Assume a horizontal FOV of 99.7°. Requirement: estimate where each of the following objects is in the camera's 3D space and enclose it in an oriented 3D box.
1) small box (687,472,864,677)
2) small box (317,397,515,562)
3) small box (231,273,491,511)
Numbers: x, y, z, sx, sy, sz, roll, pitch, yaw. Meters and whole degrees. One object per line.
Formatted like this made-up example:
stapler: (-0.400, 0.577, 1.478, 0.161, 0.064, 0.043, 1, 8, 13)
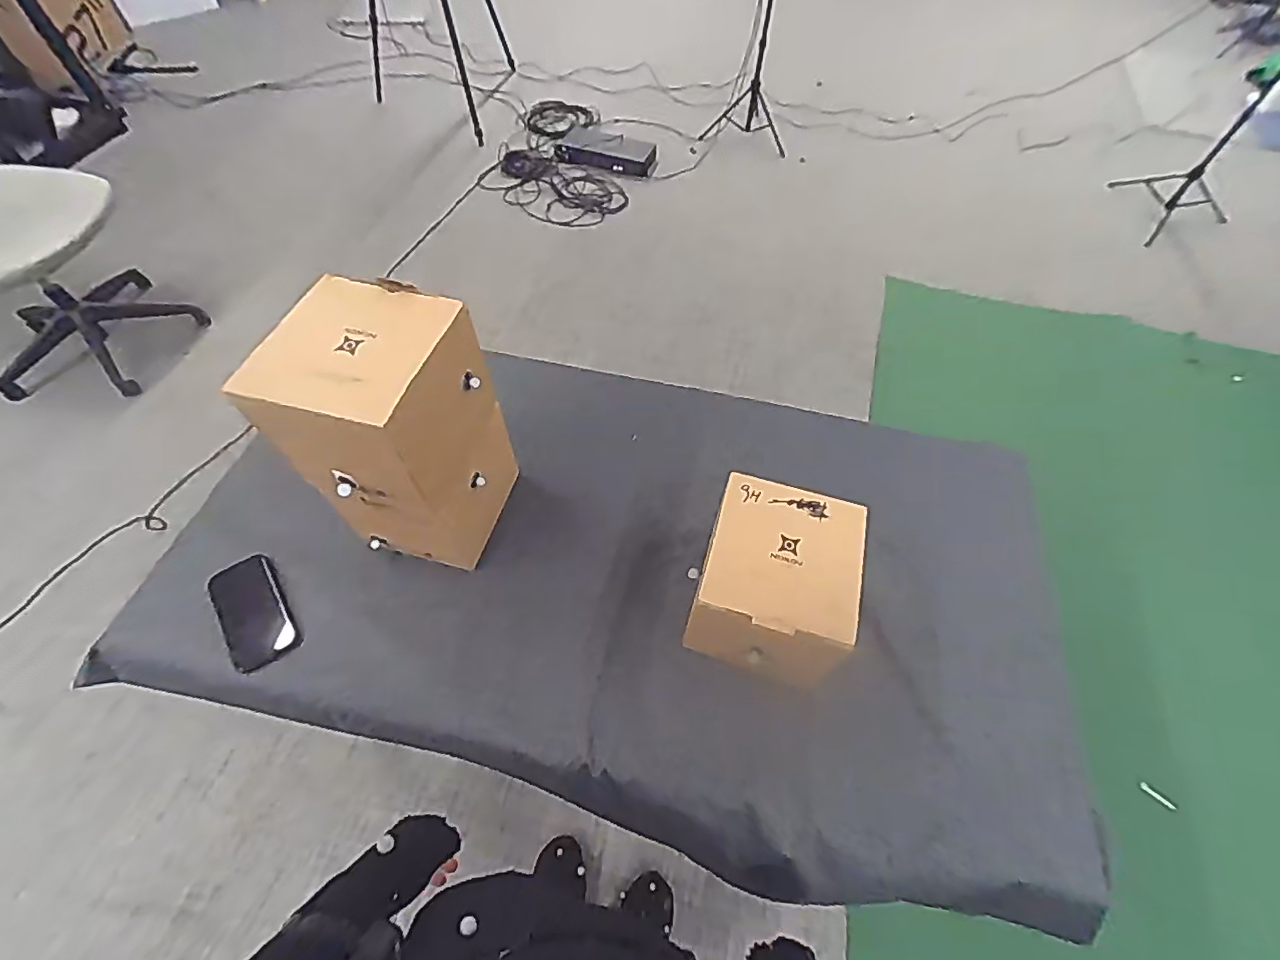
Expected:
small box: (0.158, 0.122, 0.667, 0.168, 0.176, 0.179, 15, 58, 9)
small box: (-0.284, -0.010, 0.738, 0.168, 0.176, 0.179, 14, 57, 7)
small box: (-0.280, -0.093, 0.598, 0.168, 0.176, 0.179, 12, 59, 7)
